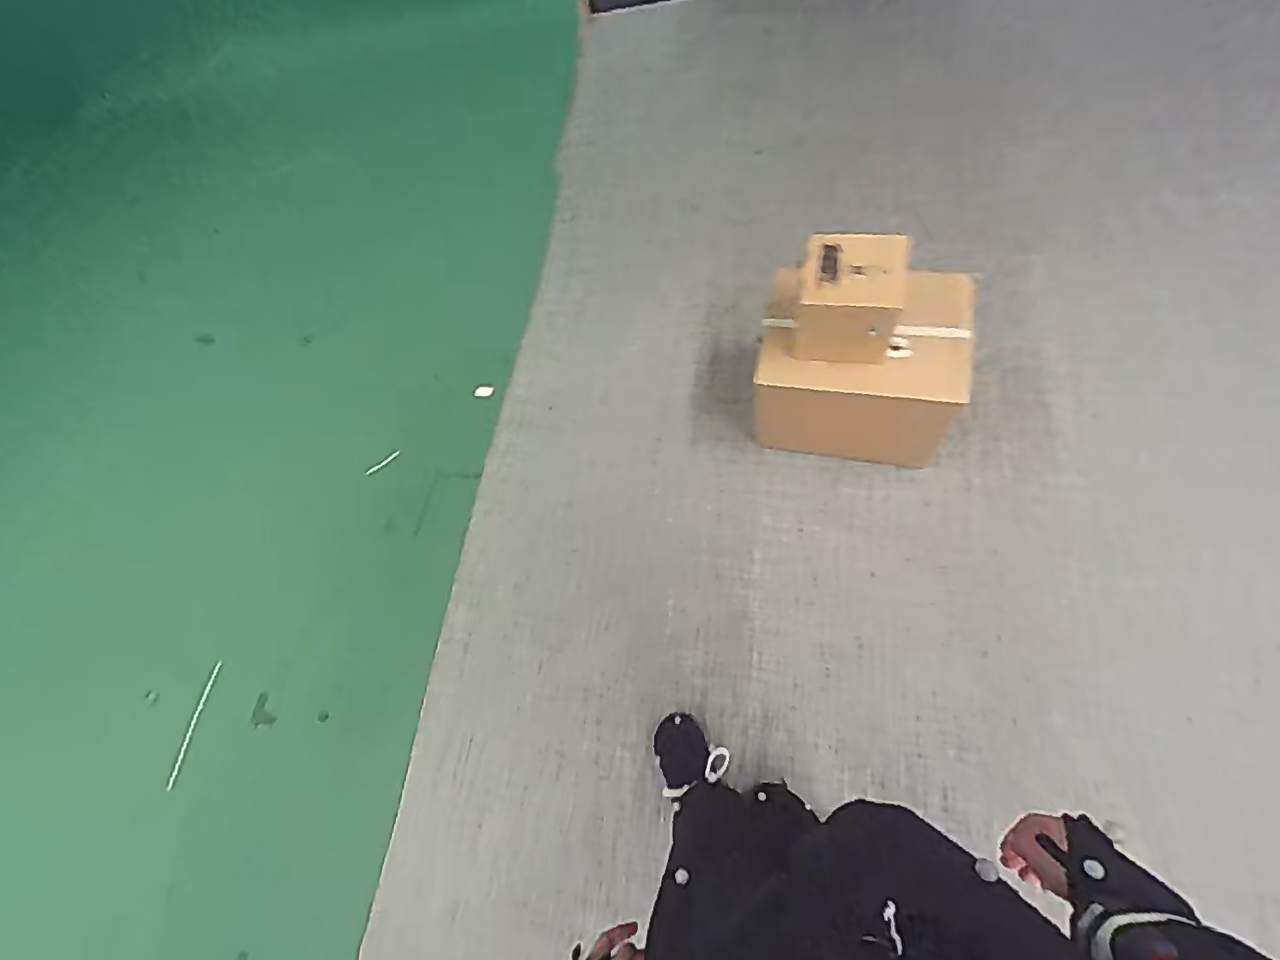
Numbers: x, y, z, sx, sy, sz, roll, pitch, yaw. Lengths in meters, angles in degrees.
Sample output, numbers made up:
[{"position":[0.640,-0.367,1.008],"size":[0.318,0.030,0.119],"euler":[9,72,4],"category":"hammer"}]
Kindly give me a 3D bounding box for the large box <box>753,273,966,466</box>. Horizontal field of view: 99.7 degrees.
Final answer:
[{"position":[0.484,-0.250,1.262],"size":[0.408,0.320,0.320],"euler":[8,71,15],"category":"large box"}]
